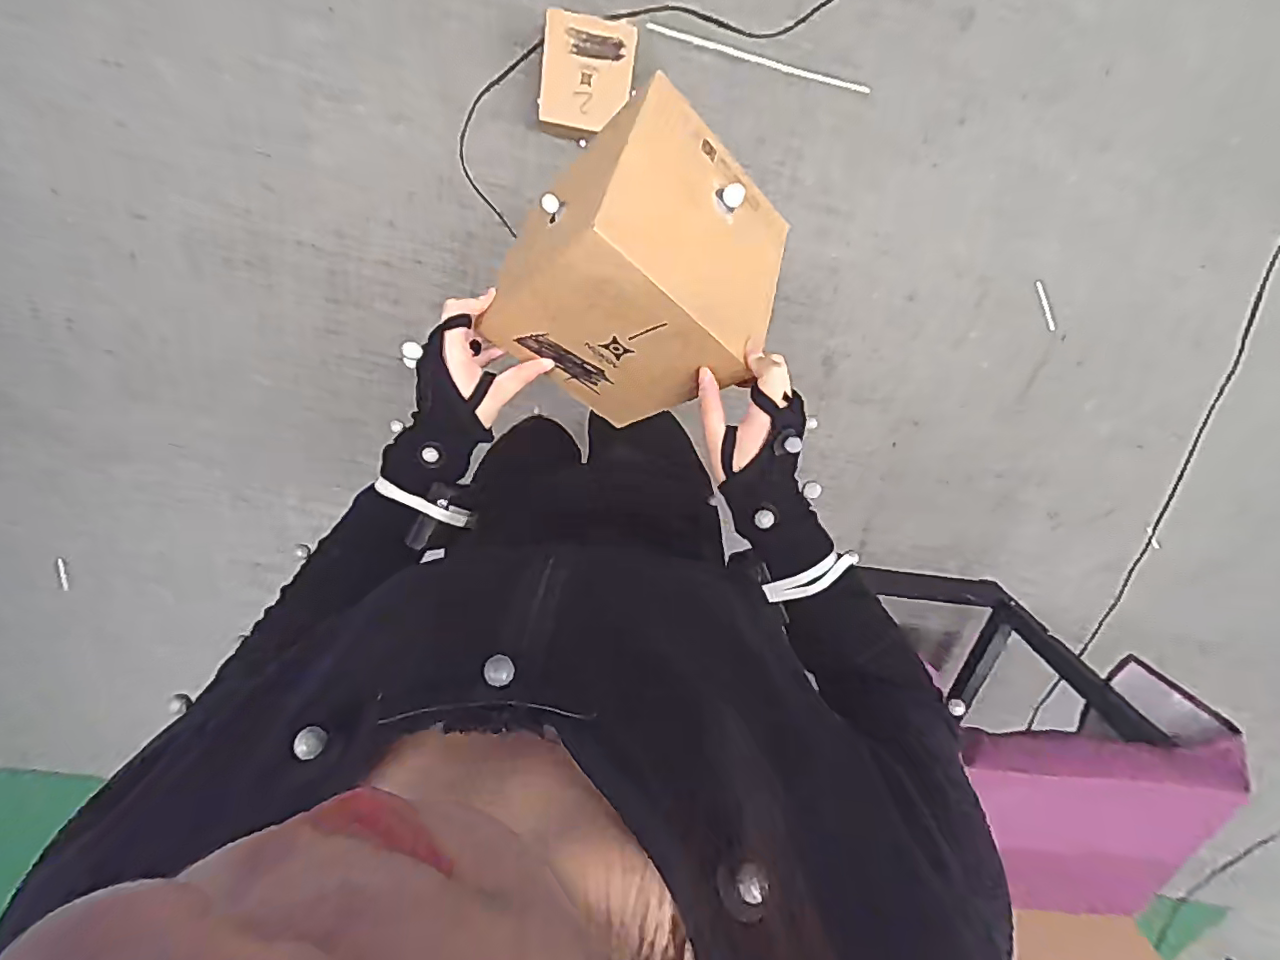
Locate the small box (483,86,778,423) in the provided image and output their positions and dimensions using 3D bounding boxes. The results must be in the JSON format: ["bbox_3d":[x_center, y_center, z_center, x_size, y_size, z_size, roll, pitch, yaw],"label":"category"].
[{"bbox_3d":[-0.003,-0.179,0.473,0.168,0.176,0.179,32,151,-31],"label":"small box"}]
